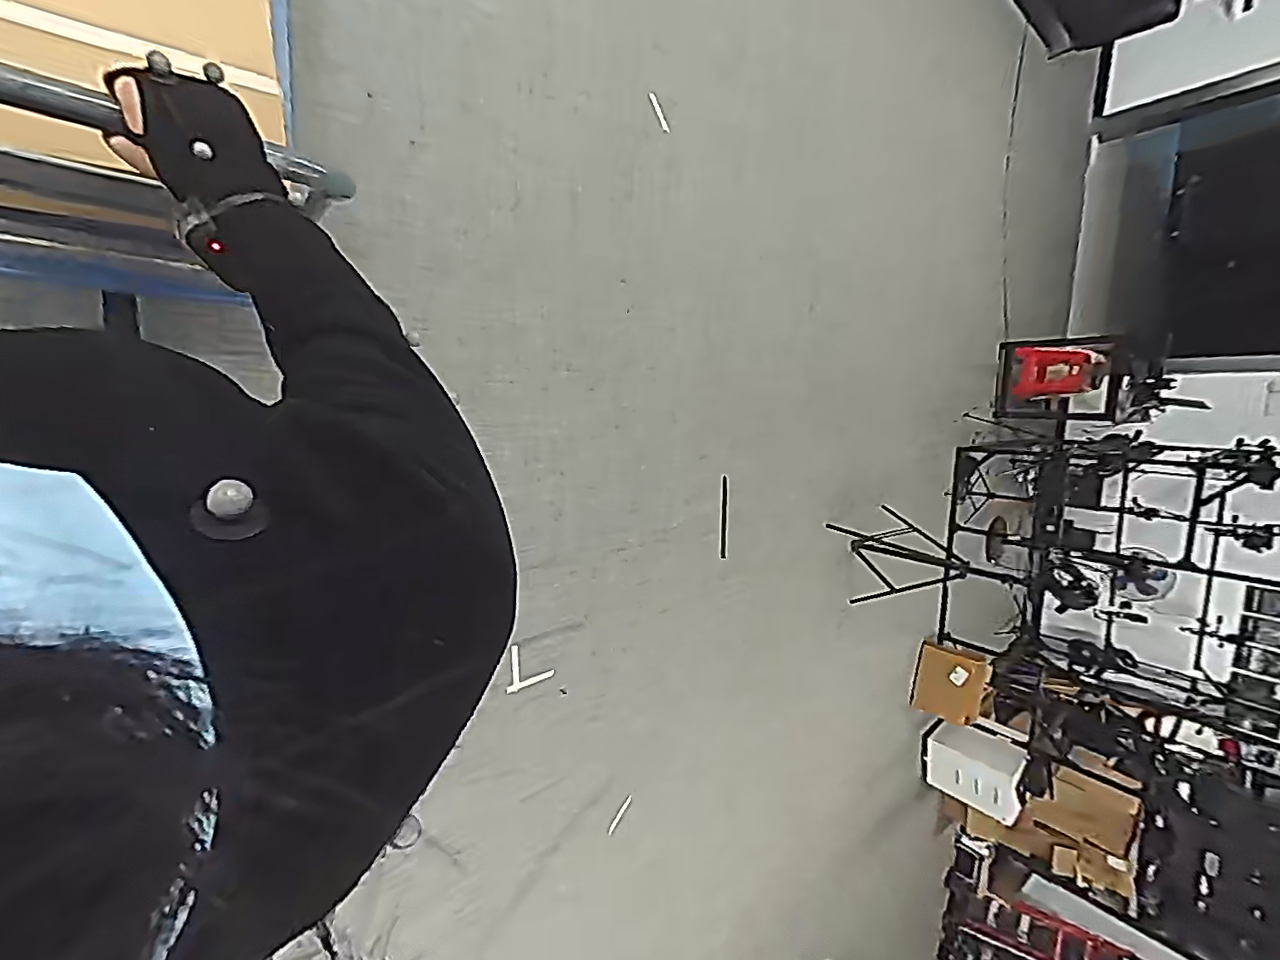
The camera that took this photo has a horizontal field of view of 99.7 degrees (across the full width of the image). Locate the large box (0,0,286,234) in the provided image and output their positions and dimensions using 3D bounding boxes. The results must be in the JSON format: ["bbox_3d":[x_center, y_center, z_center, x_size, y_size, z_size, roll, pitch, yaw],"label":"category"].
[{"bbox_3d":[-0.807,-0.590,0.805,0.408,0.320,0.320,-9,103,-41],"label":"large box"}]
